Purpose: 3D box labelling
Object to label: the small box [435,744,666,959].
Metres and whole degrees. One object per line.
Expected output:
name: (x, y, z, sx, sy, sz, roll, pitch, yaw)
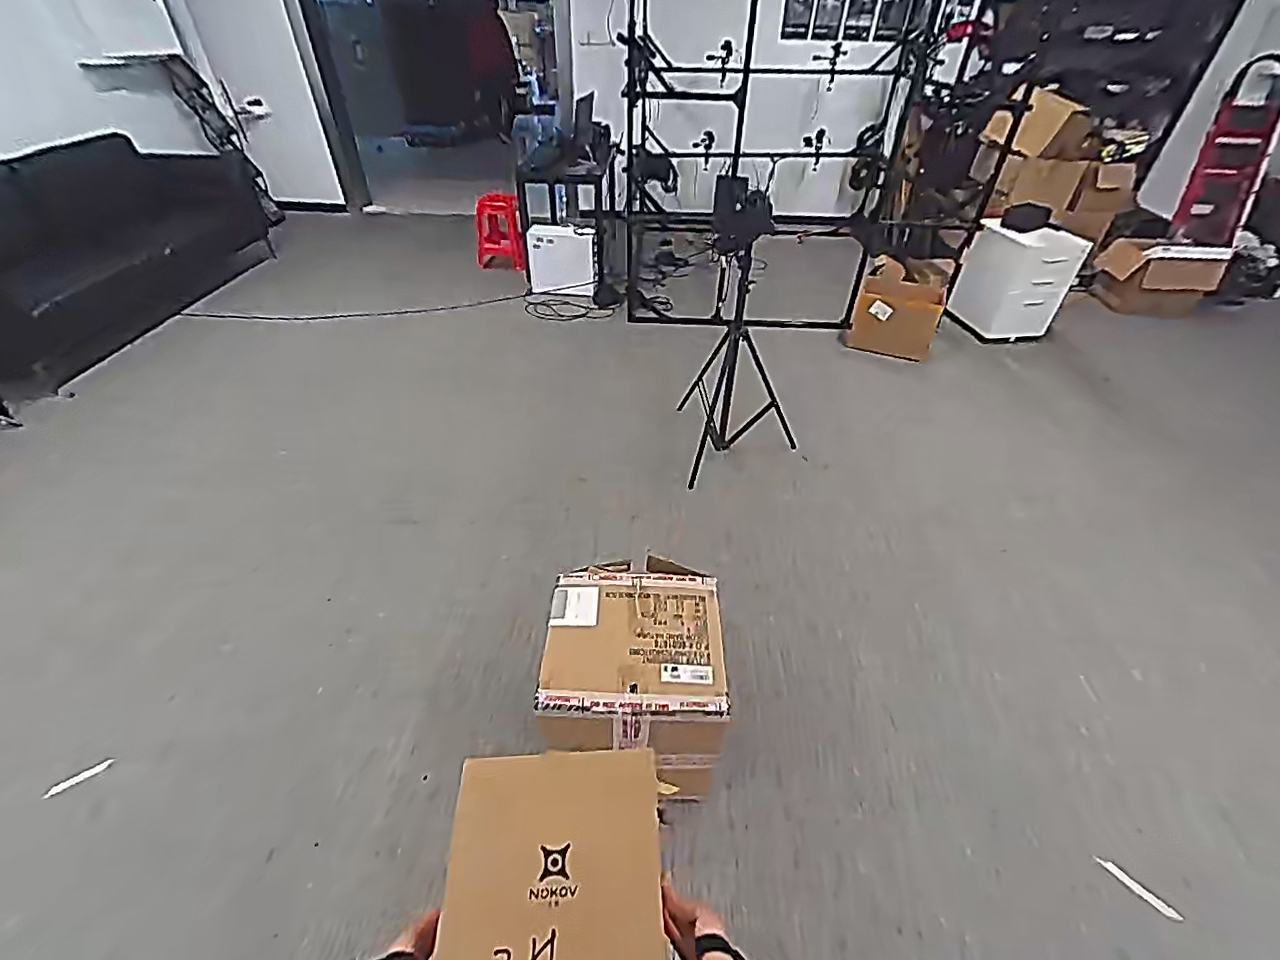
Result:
small box: (-0.063, 0.354, 0.475, 0.168, 0.176, 0.179, -4, 47, 0)
